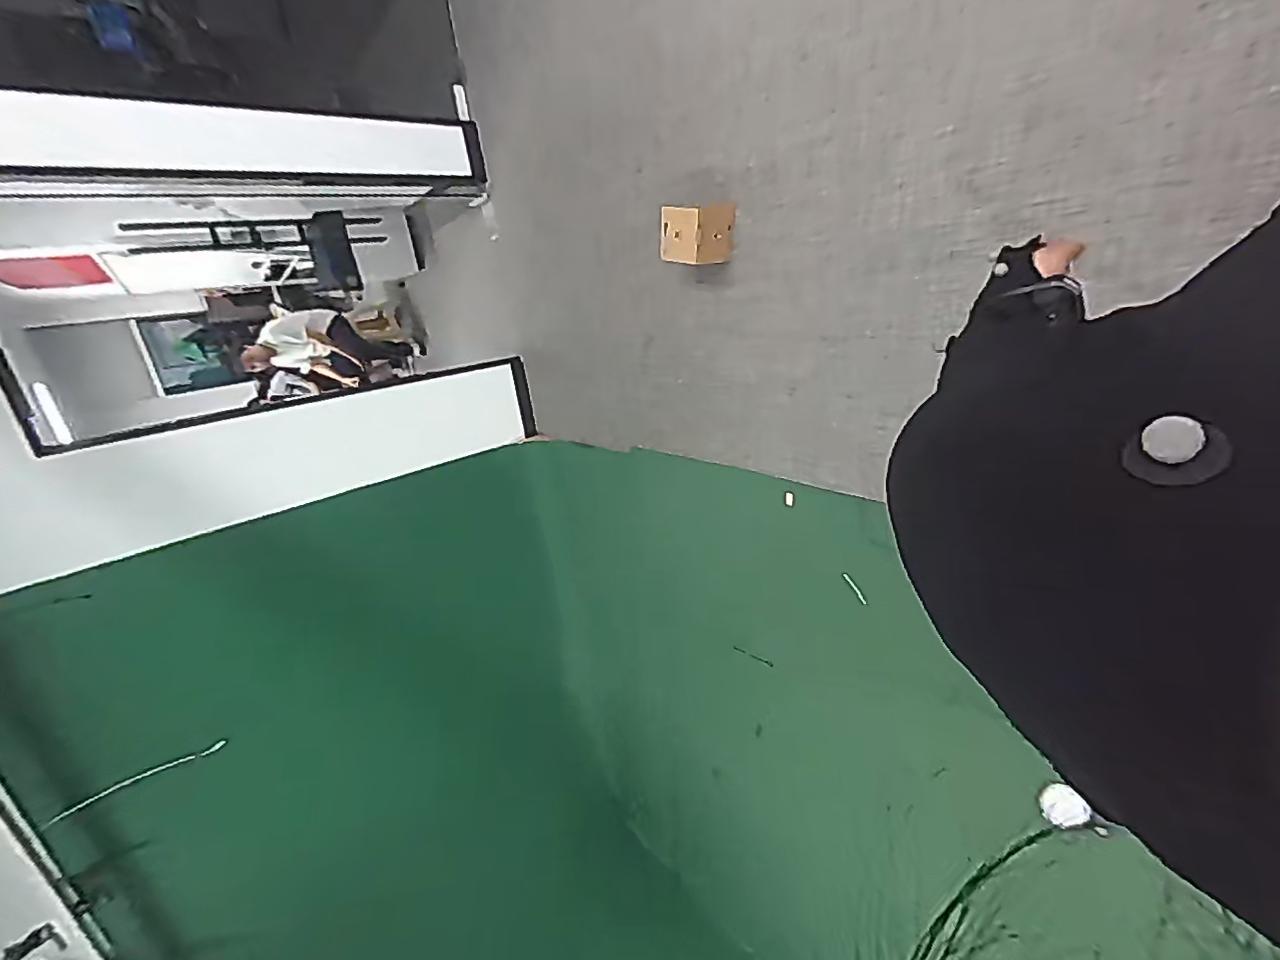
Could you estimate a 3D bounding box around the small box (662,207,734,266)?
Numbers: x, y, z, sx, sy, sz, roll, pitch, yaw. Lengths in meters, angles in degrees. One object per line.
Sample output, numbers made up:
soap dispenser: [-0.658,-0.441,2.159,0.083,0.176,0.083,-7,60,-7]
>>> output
small box: [0.194,-0.818,1.807,0.179,0.176,0.168,30,130,41]
